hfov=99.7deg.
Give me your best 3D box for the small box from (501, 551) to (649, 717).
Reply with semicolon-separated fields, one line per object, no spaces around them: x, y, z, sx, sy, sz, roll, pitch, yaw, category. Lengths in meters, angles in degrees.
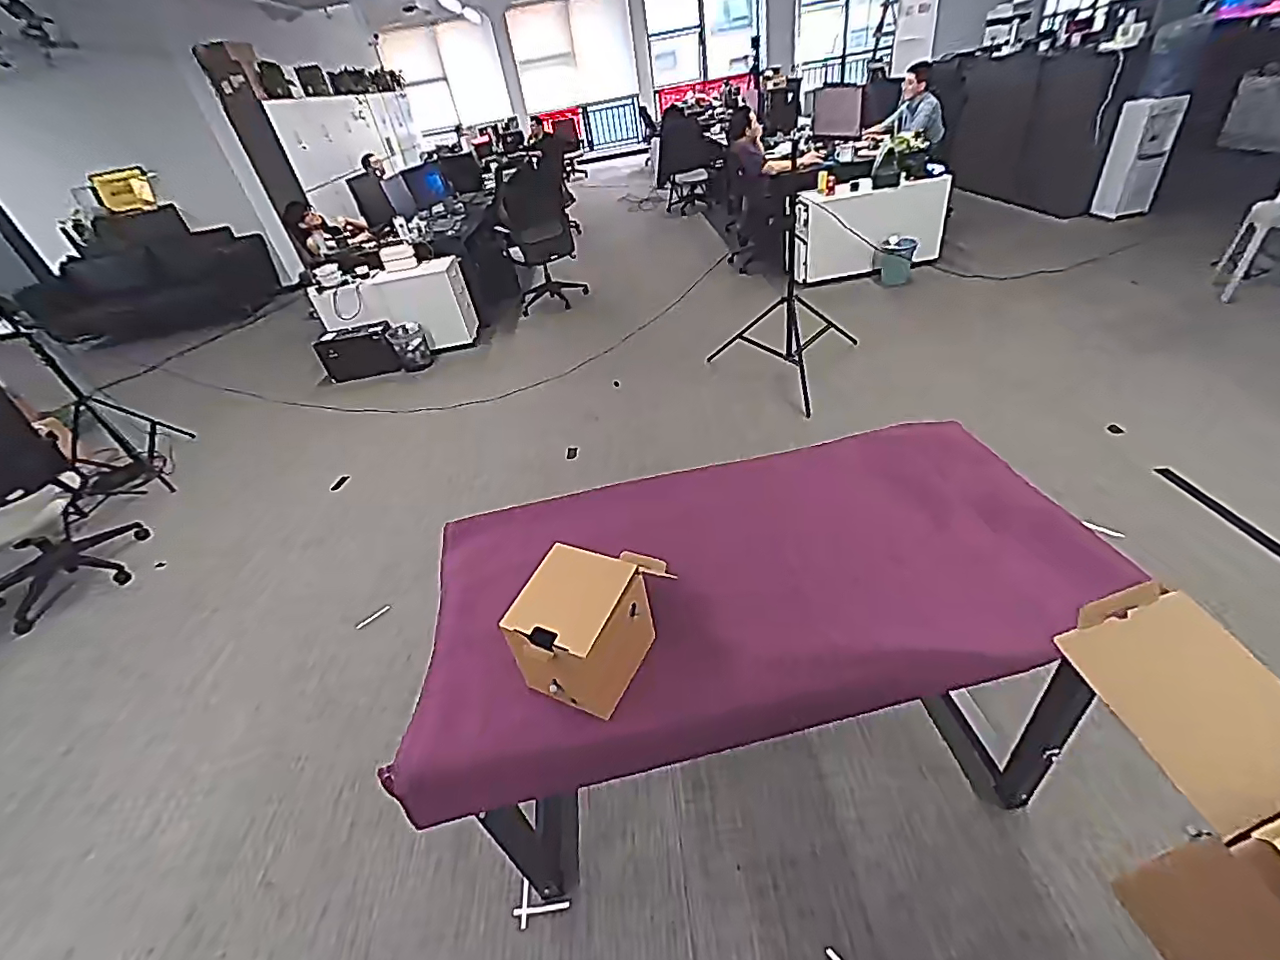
-0.096;0.252;0.902;0.168;0.176;0.179;10;41;28;small box
